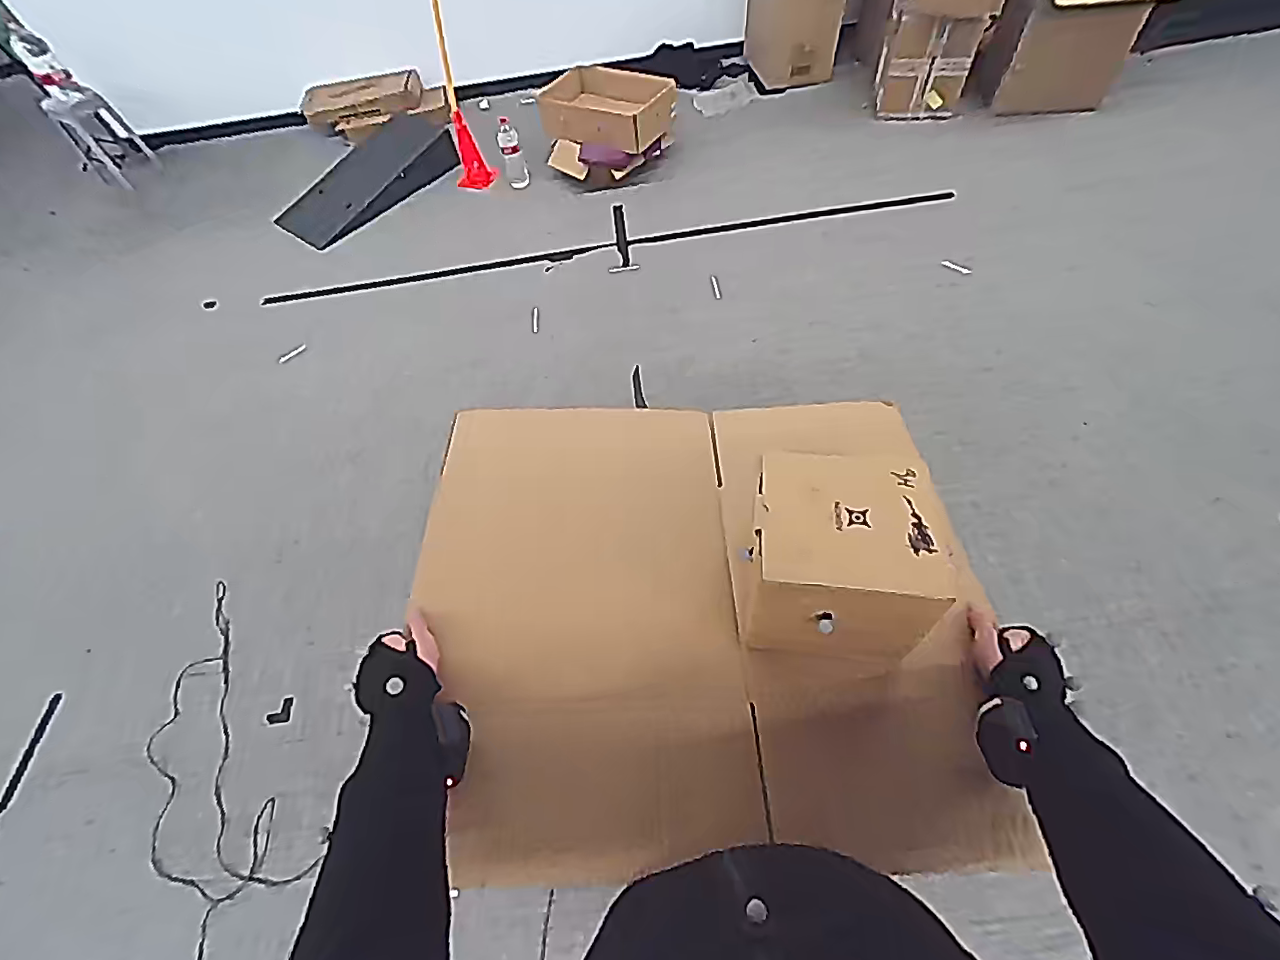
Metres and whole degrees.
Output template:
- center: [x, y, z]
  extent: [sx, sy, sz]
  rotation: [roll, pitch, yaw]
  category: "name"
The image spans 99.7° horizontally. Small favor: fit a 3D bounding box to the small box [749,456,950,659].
- center: [0.217, 0.091, 0.614]
  extent: [0.179, 0.176, 0.168]
  rotation: [3, 53, 9]
  category: "small box"
